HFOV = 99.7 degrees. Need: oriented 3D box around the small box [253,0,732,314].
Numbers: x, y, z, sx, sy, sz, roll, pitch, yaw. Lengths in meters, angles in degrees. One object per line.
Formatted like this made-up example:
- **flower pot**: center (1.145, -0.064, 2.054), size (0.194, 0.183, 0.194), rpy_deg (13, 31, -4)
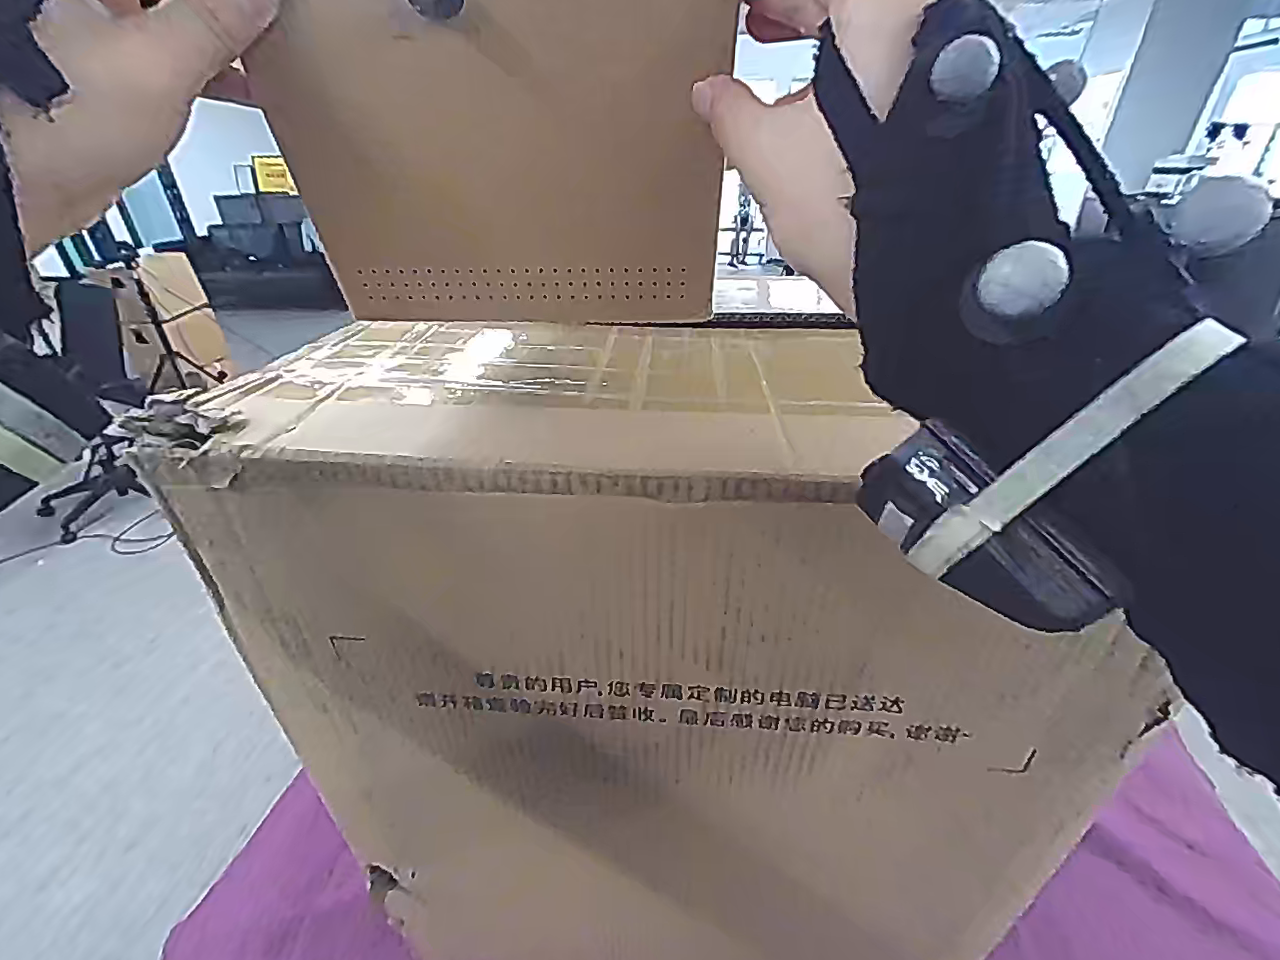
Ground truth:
- **small box**: center (-0.051, -0.194, 0.257), size (0.179, 0.176, 0.168), rpy_deg (1, 47, 1)
